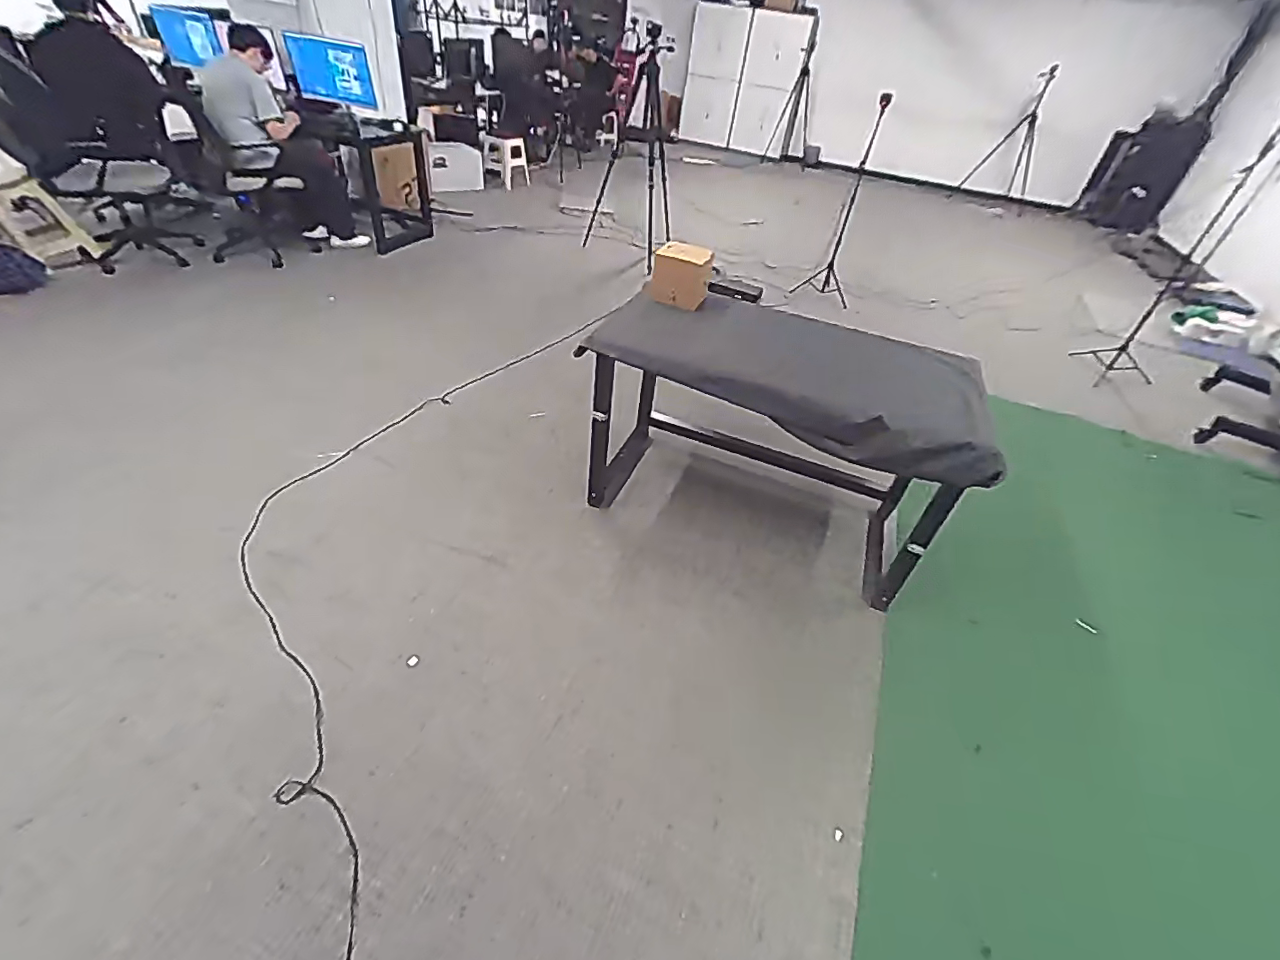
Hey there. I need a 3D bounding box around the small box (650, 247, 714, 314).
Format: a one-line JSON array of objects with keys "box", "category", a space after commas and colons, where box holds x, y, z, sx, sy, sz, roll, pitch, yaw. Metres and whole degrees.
[{"box": [0.150, -0.724, 1.968, 0.179, 0.176, 0.168, 20, 41, 12], "category": "small box"}]
